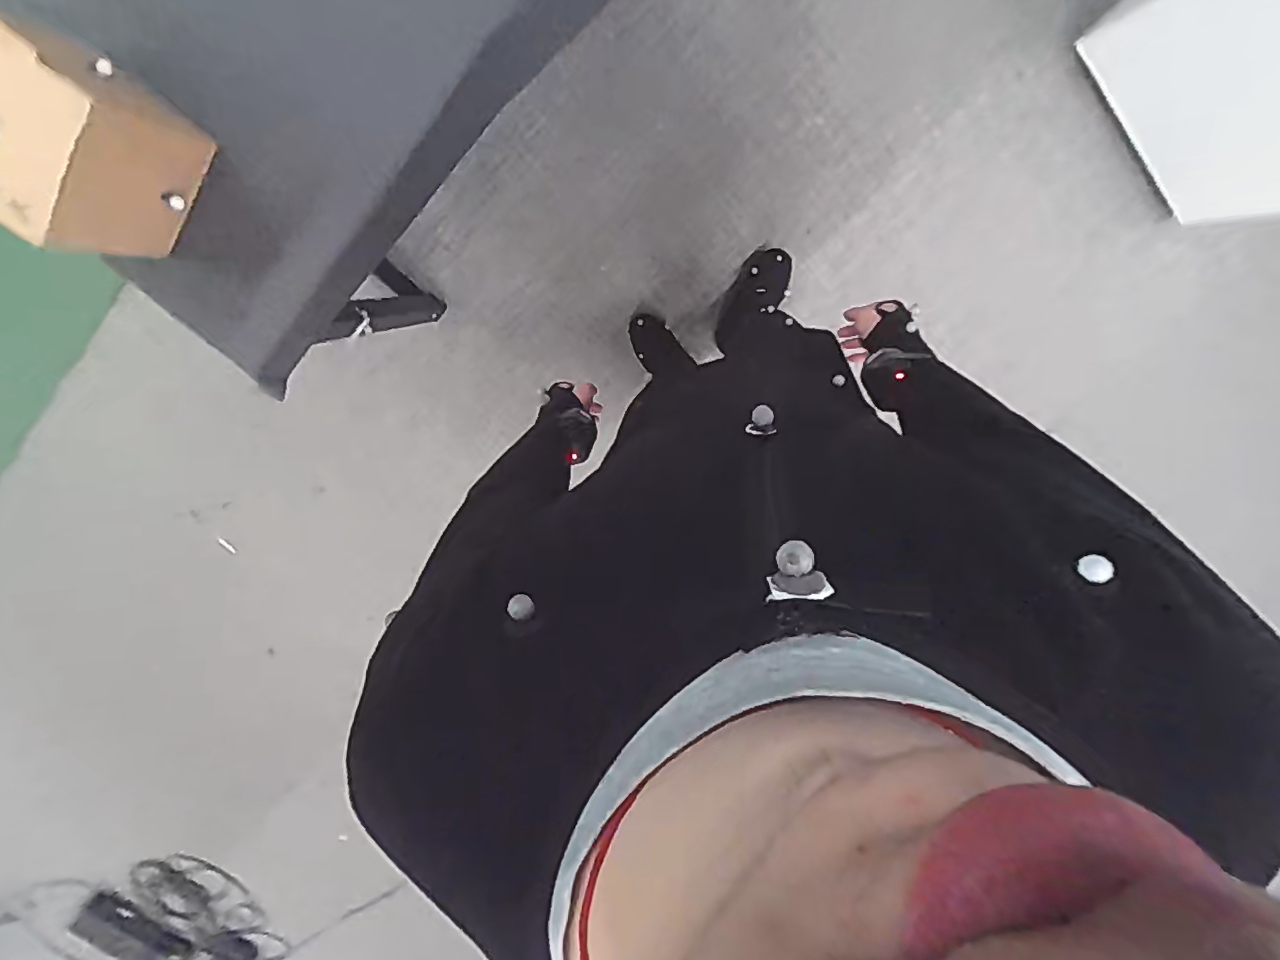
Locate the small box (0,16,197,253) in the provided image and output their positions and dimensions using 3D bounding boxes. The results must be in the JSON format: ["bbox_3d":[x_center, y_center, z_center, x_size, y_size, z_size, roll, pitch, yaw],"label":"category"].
[{"bbox_3d":[-0.655,-0.381,0.605,0.168,0.176,0.179,36,105,-12],"label":"small box"}]
